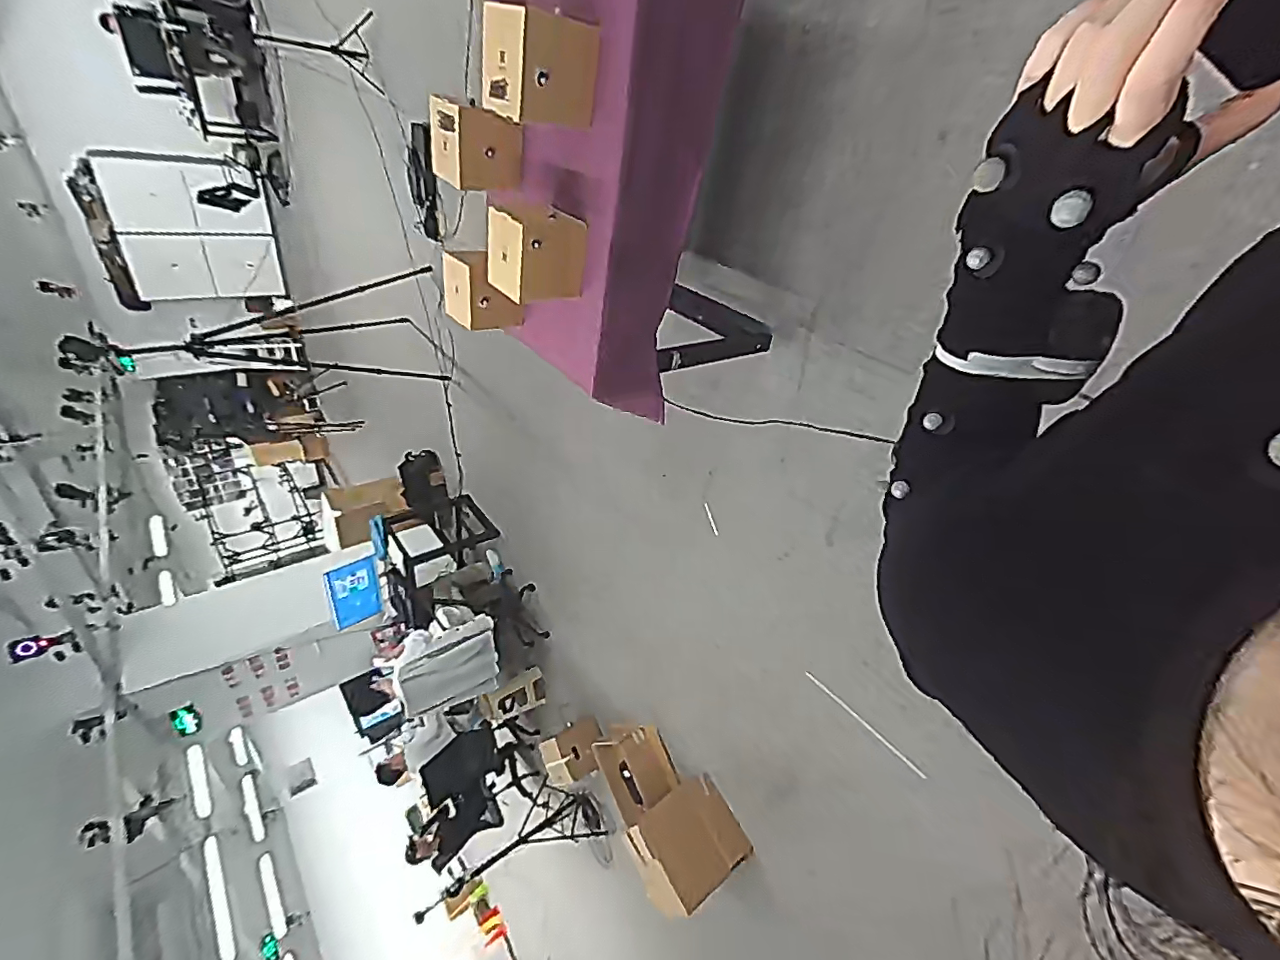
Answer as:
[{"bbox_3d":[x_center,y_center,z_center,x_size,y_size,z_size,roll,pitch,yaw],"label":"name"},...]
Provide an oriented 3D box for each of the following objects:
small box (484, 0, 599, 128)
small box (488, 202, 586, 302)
[{"bbox_3d":[-0.200,-0.832,1.089,0.168,0.176,0.179,43,135,33],"label":"small box"},{"bbox_3d":[-0.246,-0.540,1.281,0.168,0.176,0.179,42,134,35],"label":"small box"}]
